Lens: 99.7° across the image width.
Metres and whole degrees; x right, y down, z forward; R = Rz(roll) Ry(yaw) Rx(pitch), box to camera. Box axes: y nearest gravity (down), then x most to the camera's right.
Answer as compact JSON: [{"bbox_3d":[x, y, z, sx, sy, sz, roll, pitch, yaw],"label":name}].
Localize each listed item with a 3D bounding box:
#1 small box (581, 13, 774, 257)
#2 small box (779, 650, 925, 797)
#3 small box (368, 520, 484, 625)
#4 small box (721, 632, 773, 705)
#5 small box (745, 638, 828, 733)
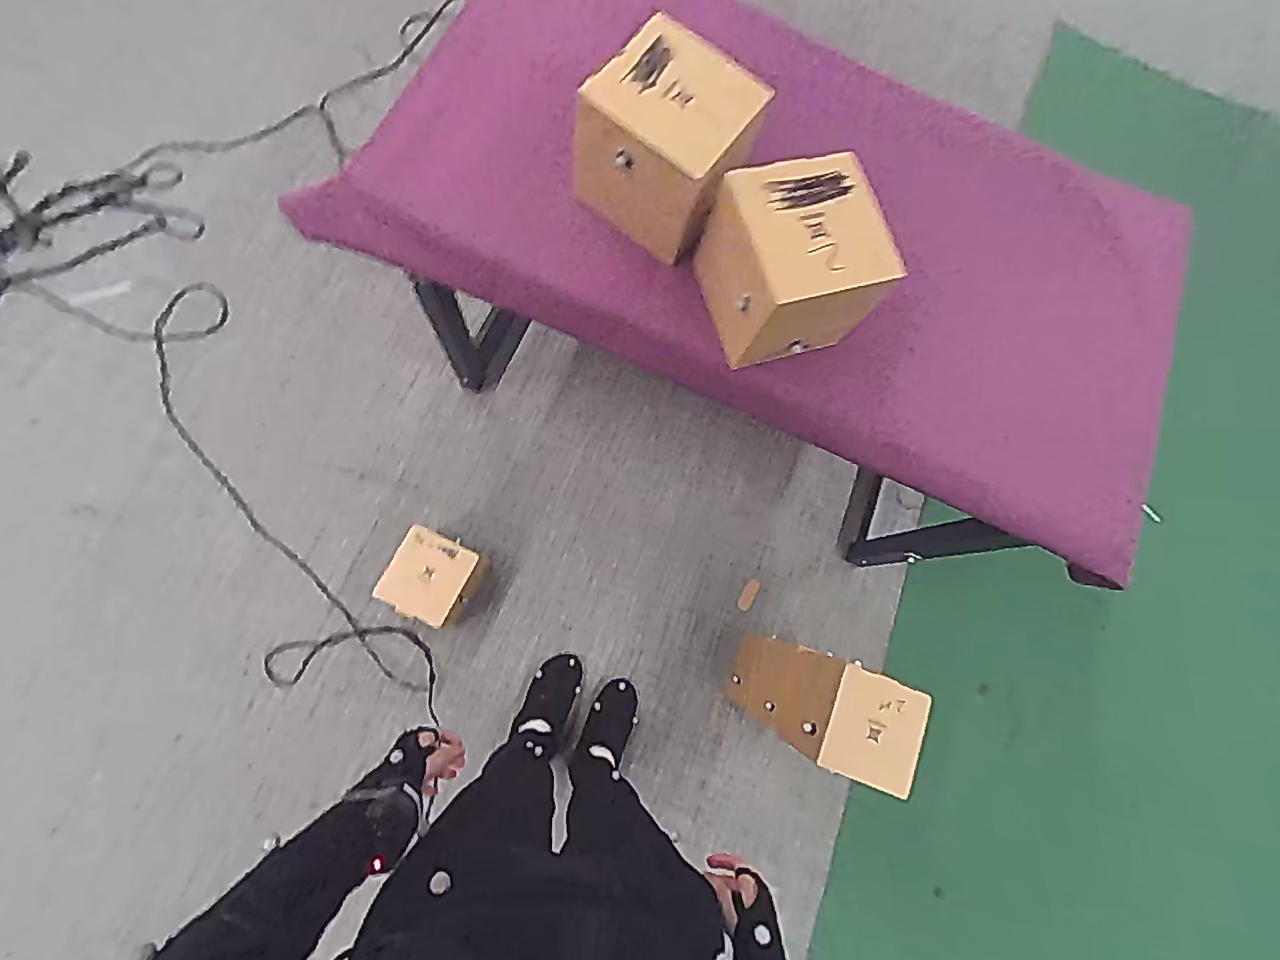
[{"bbox_3d":[0.035,-0.435,0.709,0.179,0.176,0.168,37,76,0],"label":"small box"},{"bbox_3d":[0.373,0.428,0.981,0.168,0.176,0.179,23,77,-3],"label":"small box"},{"bbox_3d":[-0.478,0.214,1.243,0.168,0.176,0.179,28,76,-2],"label":"small box"},{"bbox_3d":[0.315,0.477,1.299,0.179,0.176,0.168,25,76,-2],"label":"small box"},{"bbox_3d":[0.342,0.447,1.142,0.168,0.176,0.179,23,77,-3],"label":"small box"}]
